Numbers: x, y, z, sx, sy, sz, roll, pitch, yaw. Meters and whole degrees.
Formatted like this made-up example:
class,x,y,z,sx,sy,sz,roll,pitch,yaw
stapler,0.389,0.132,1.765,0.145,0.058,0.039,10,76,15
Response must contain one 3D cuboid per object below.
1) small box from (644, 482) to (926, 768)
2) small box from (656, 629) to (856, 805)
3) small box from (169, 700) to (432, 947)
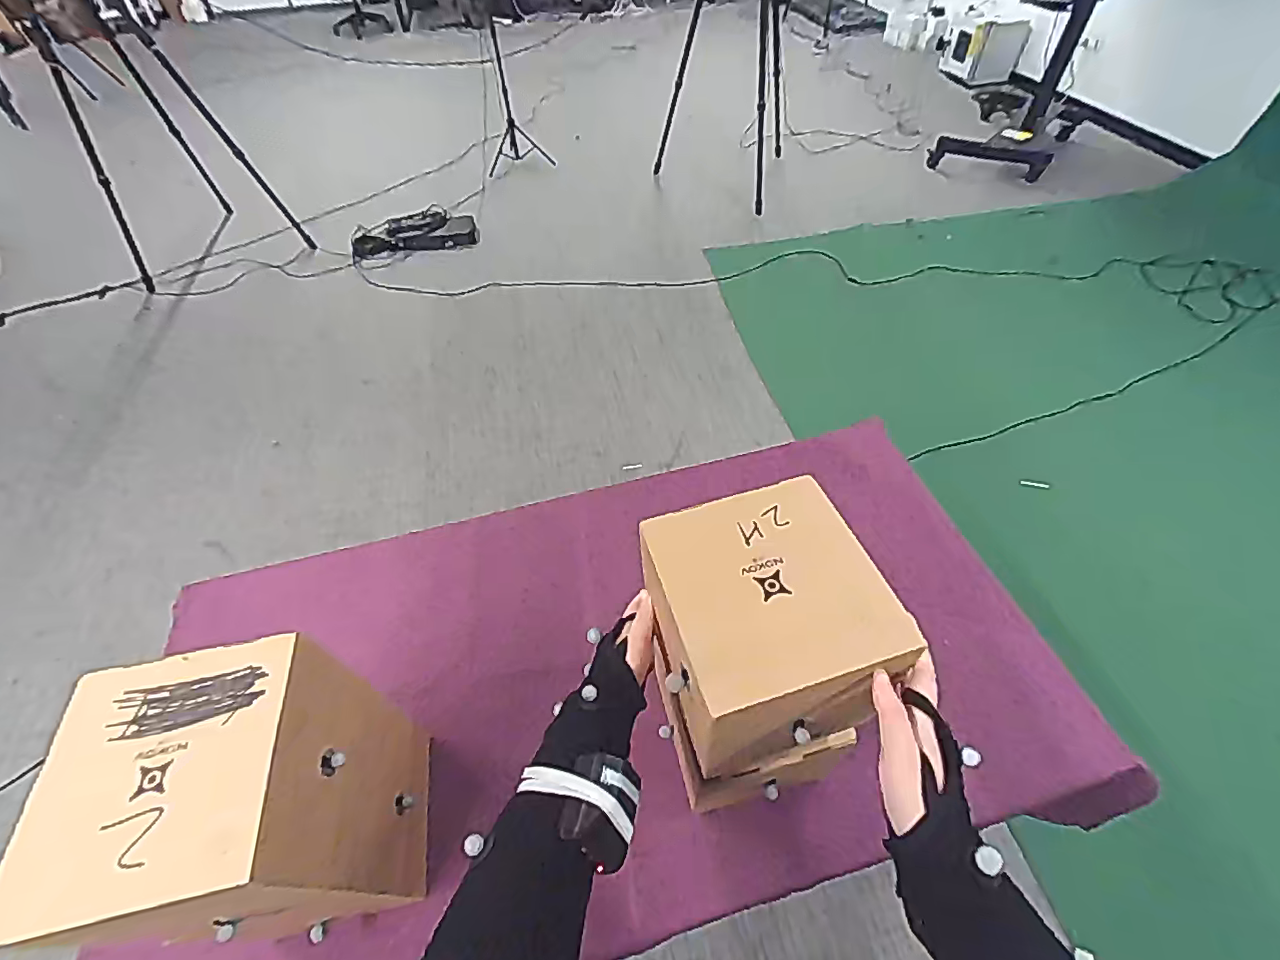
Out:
class,x,y,z,sx,sy,sz,roll,pitch,yaw
small box,0.109,0.135,0.485,0.168,0.176,0.179,-15,49,-8
small box,0.120,0.263,0.635,0.168,0.176,0.179,-12,52,-7
small box,-0.332,0.363,0.576,0.168,0.176,0.179,-11,52,-6
